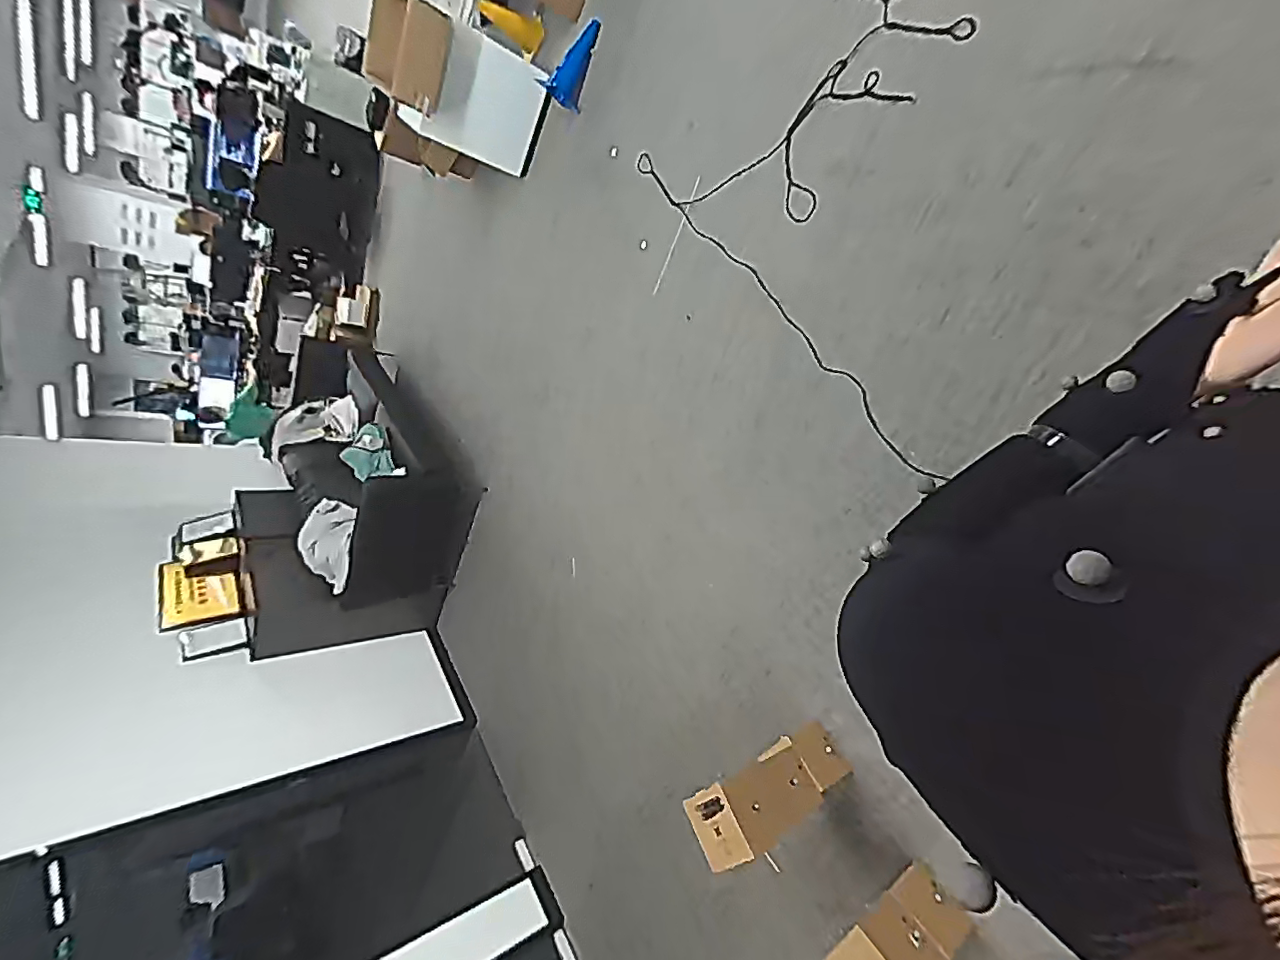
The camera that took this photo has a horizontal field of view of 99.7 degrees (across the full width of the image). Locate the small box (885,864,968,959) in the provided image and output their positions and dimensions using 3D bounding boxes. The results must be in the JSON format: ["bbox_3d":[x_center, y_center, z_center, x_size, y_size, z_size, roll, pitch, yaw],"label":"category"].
[{"bbox_3d":[0.695,1.139,1.378,0.168,0.176,0.179,41,119,40],"label":"small box"}]

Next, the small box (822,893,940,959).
[{"bbox_3d":[0.569,1.137,1.275,0.168,0.176,0.179,41,118,40],"label":"small box"}]

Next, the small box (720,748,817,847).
[{"bbox_3d":[0.365,0.878,1.507,0.179,0.176,0.168,-52,54,33],"label":"small box"}]

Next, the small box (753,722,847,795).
[{"bbox_3d":[0.481,0.860,1.622,0.179,0.176,0.168,-56,52,30],"label":"small box"}]
